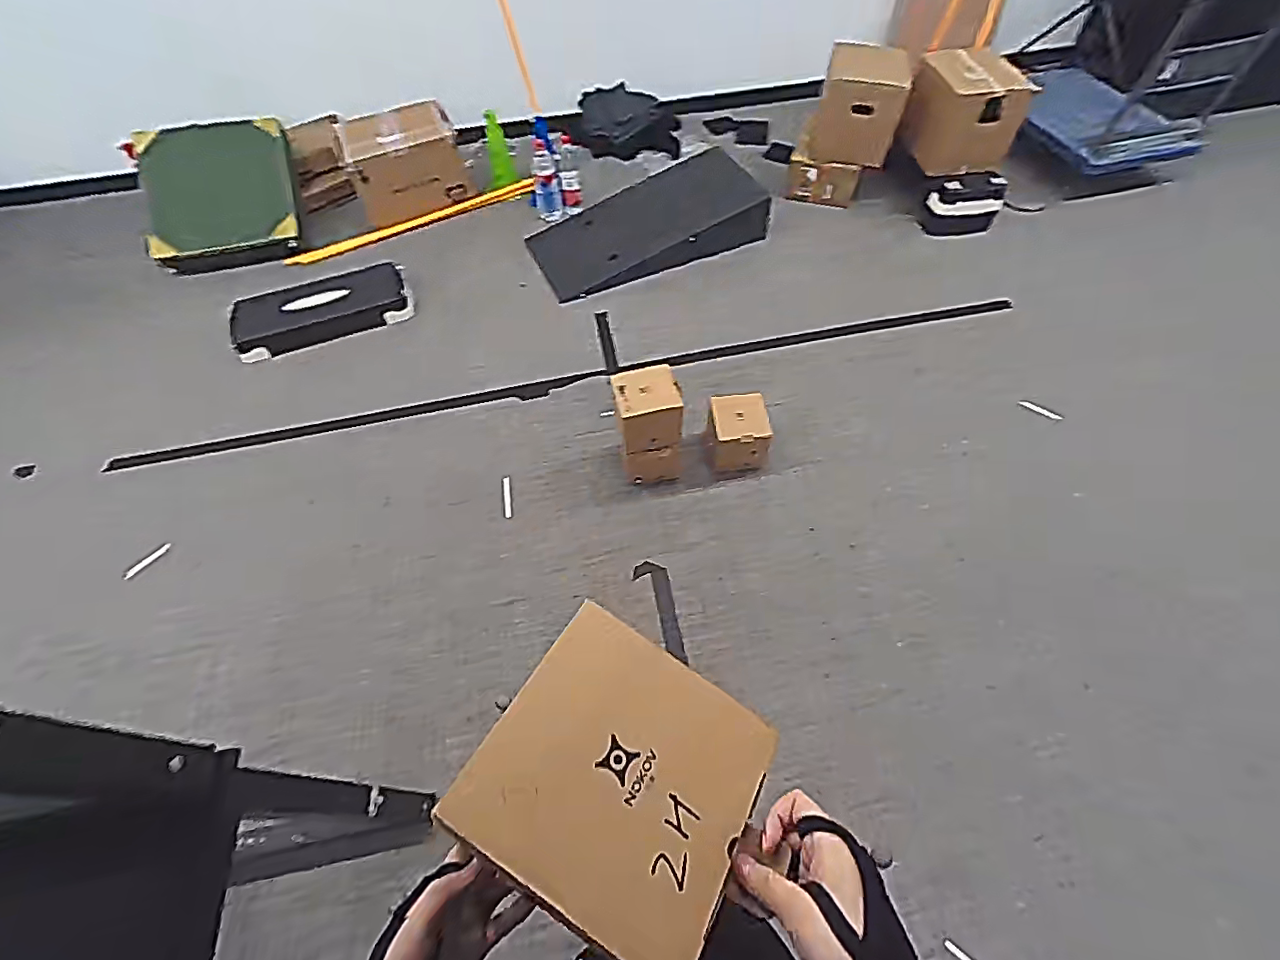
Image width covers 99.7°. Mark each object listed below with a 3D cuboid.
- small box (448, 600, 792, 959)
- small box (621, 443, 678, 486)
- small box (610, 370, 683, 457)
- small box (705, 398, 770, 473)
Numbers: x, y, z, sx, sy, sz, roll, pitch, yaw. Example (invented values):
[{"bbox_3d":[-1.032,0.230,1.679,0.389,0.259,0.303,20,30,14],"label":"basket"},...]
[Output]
[{"bbox_3d":[-0.023,0.230,0.411,0.179,0.176,0.168,34,53,6],"label":"small box"},{"bbox_3d":[0.025,-0.096,1.700,0.168,0.176,0.179,-8,56,-4],"label":"small box"},{"bbox_3d":[0.015,-0.189,1.564,0.179,0.176,0.168,-12,56,-7],"label":"small box"},{"bbox_3d":[0.304,-0.134,1.720,0.168,0.176,0.179,-5,56,-3],"label":"small box"}]
